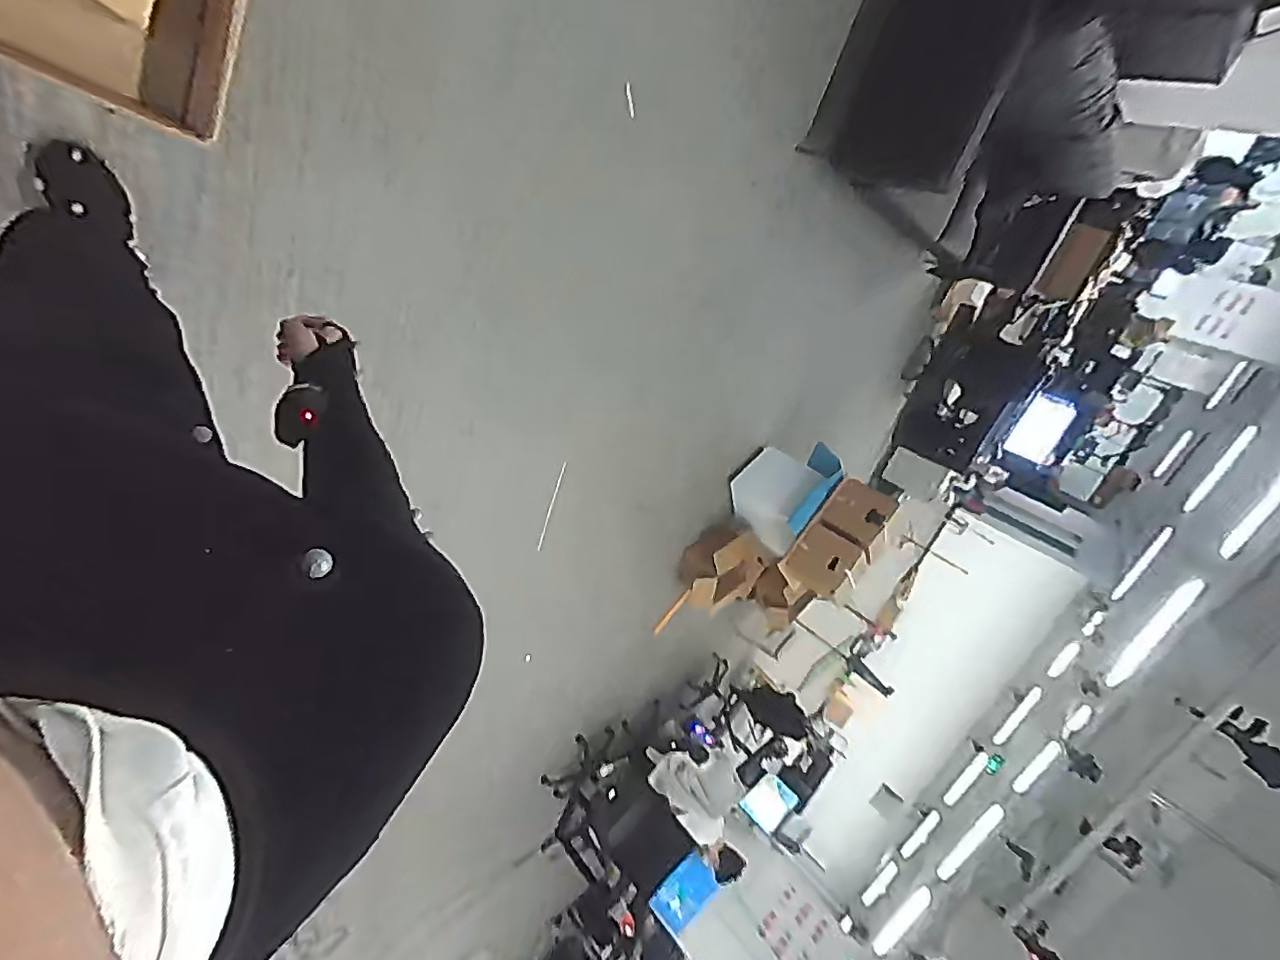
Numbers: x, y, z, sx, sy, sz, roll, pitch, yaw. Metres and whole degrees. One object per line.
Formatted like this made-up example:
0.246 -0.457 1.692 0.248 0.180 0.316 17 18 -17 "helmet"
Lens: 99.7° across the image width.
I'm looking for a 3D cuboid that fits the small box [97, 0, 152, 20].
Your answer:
-0.633 -0.657 0.590 0.168 0.176 0.179 12 111 -52 "small box"
